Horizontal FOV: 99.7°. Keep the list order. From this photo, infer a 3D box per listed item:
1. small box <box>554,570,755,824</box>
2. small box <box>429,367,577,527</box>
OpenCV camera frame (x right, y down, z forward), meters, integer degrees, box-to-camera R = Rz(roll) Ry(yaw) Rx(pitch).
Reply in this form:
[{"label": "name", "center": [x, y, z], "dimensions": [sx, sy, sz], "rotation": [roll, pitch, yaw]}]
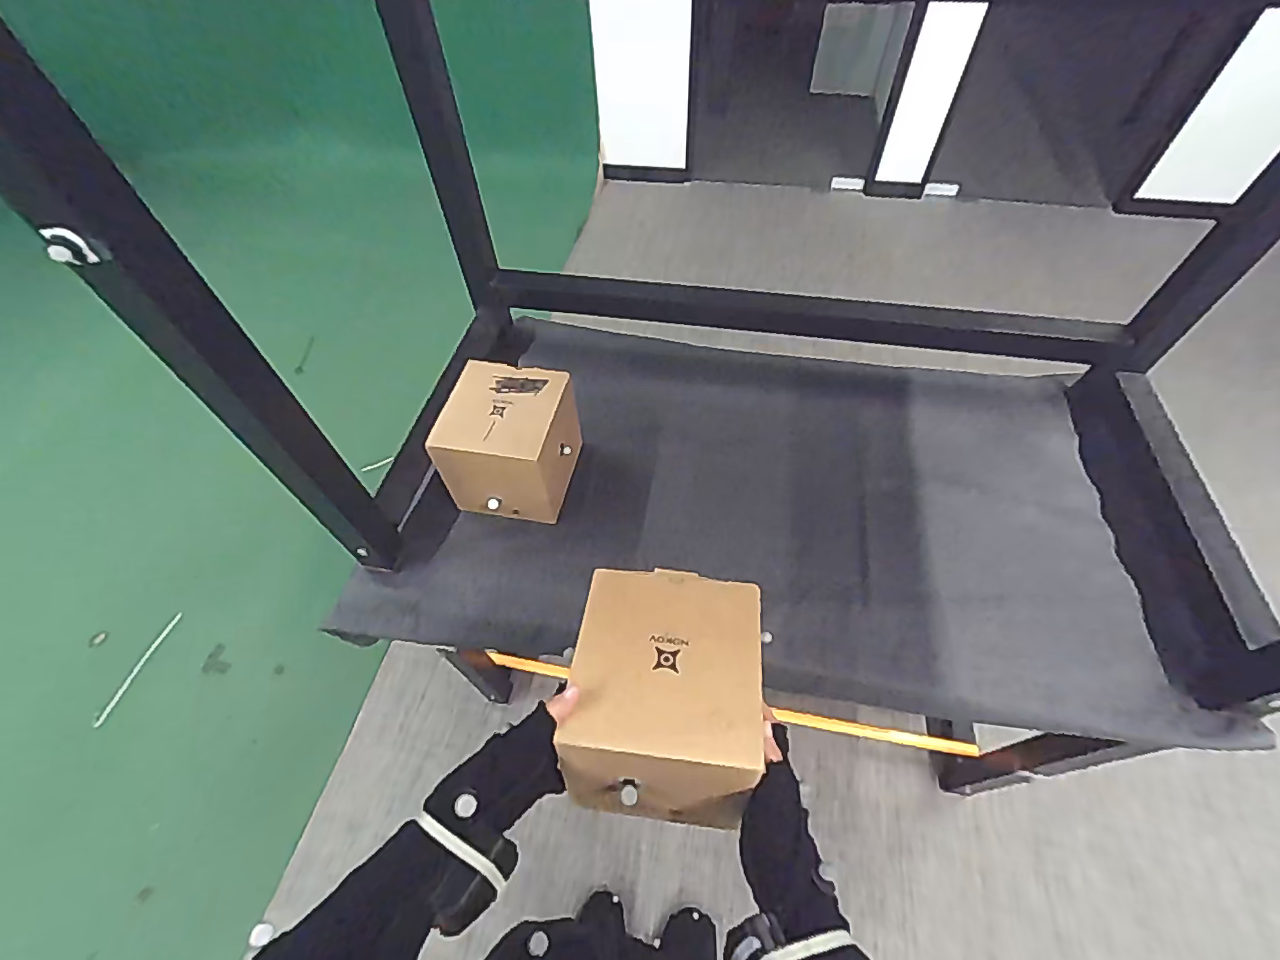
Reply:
[{"label": "small box", "center": [0.022, 0.216, 0.540], "dimensions": [0.168, 0.176, 0.179], "rotation": [5, 42, 5]}, {"label": "small box", "center": [-0.201, -0.051, 0.857], "dimensions": [0.168, 0.176, 0.179], "rotation": [8, 55, 7]}]
